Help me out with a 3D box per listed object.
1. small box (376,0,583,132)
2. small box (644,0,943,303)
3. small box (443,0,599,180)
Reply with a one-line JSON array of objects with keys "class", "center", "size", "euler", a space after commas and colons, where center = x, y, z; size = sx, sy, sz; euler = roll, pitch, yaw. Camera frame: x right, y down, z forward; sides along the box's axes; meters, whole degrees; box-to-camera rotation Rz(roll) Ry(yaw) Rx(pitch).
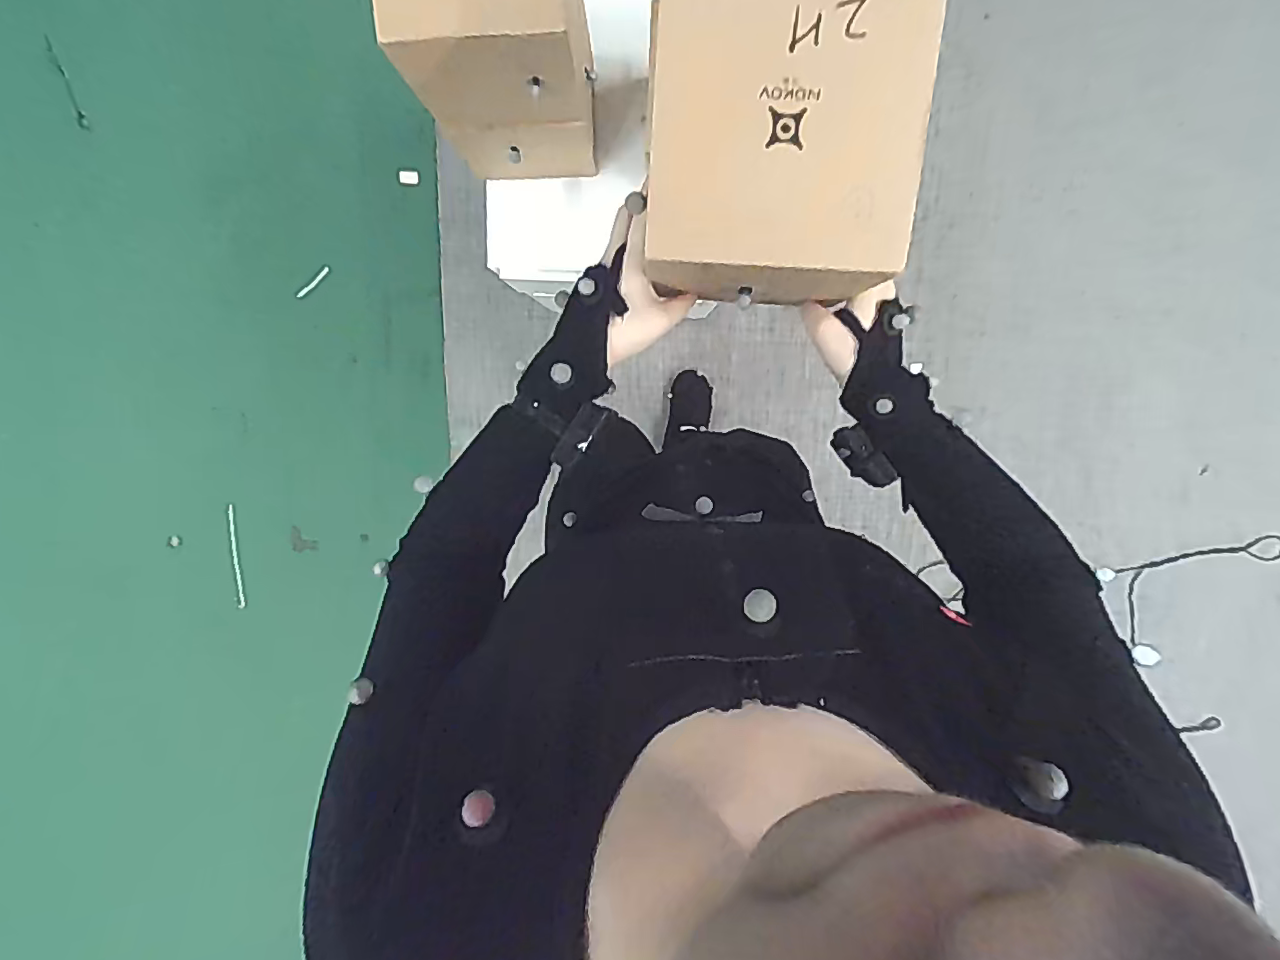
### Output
[{"class": "small box", "center": [-0.153, -0.487, 0.556], "size": [0.179, 0.176, 0.168], "euler": [-3, 100, 1]}, {"class": "small box", "center": [0.095, -0.236, 0.409], "size": [0.168, 0.176, 0.179], "euler": [4, 100, 2]}, {"class": "small box", "center": [-0.152, -0.515, 0.717], "size": [0.179, 0.176, 0.168], "euler": [-2, 101, 1]}]
